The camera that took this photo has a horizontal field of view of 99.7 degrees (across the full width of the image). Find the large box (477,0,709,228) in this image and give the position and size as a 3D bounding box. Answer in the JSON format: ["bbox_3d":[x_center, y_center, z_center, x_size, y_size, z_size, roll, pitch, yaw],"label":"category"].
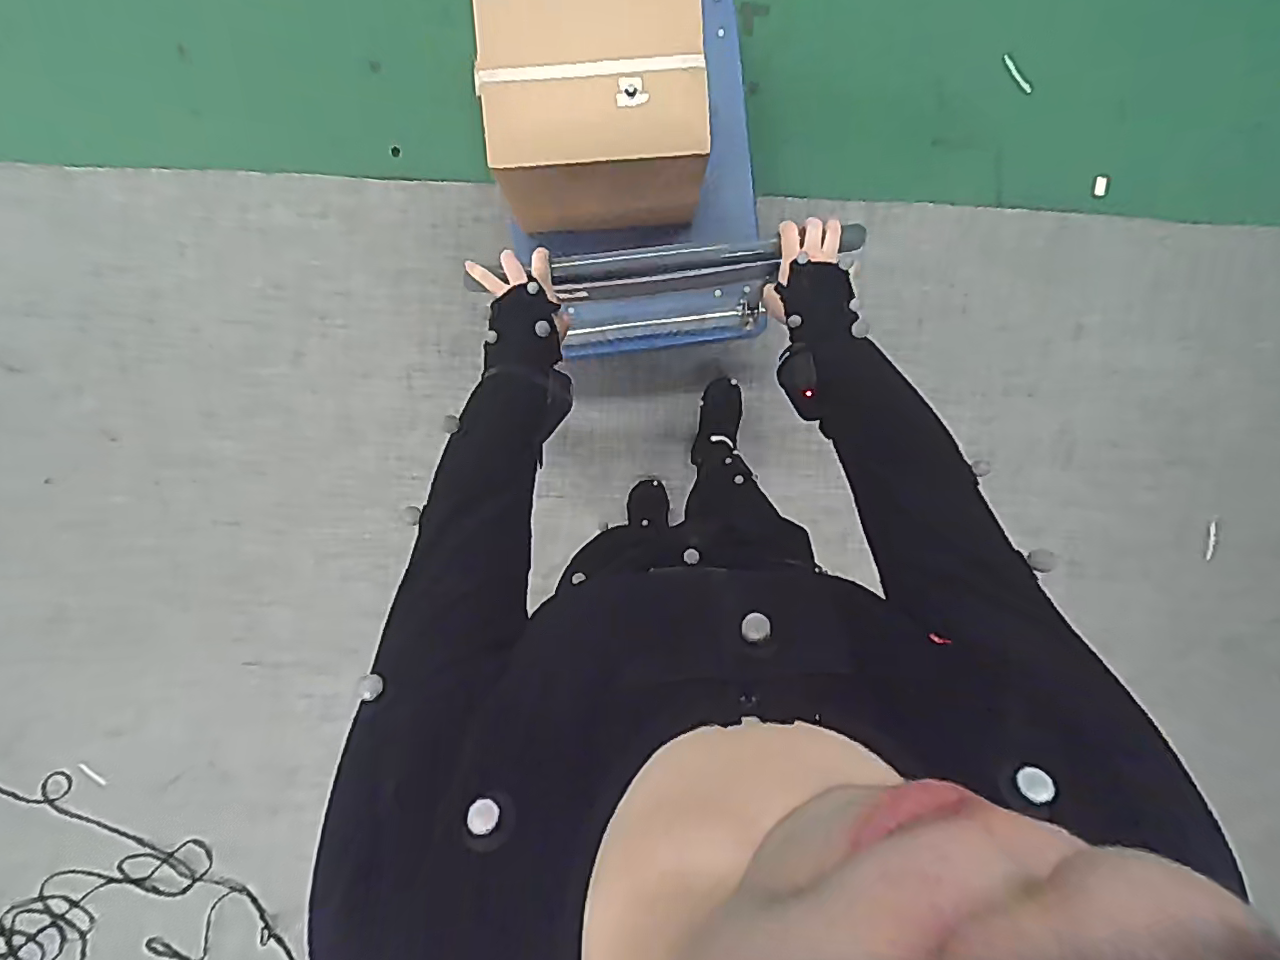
[{"bbox_3d":[-0.088,-0.752,1.126,0.408,0.320,0.320,-5,94,-1],"label":"large box"}]
